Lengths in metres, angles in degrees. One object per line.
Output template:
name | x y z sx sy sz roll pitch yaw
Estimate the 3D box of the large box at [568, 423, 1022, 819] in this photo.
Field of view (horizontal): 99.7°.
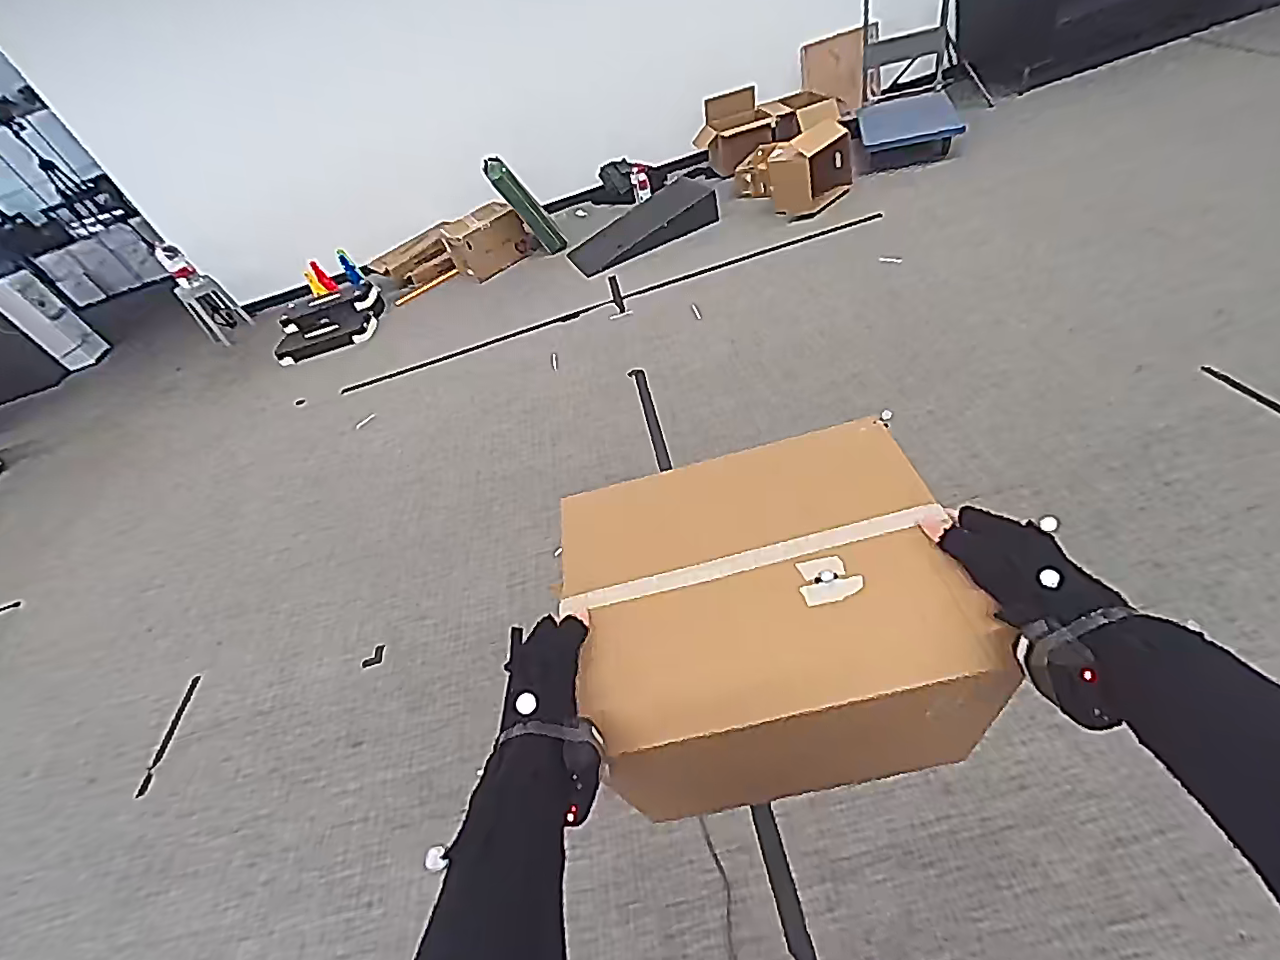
large box | 0.152 0.186 0.685 0.408 0.320 0.320 -15 47 4
